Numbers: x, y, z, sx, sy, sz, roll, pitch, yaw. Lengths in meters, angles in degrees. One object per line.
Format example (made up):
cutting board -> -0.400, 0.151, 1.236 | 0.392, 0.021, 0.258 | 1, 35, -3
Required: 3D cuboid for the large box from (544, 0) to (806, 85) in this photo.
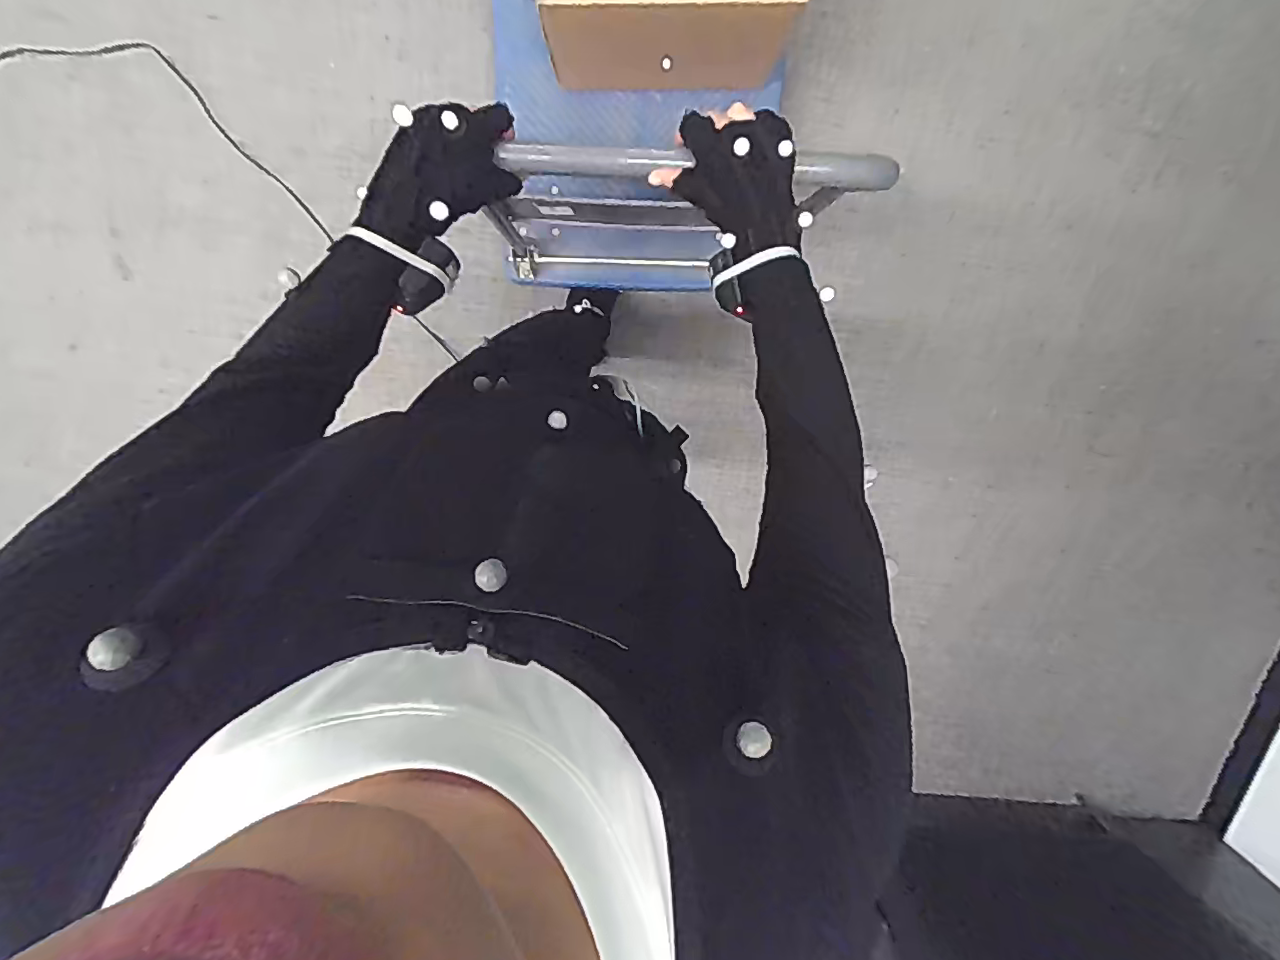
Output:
large box -> 0.049, -0.901, 0.904 | 0.408, 0.320, 0.320 | -1, 106, -1
